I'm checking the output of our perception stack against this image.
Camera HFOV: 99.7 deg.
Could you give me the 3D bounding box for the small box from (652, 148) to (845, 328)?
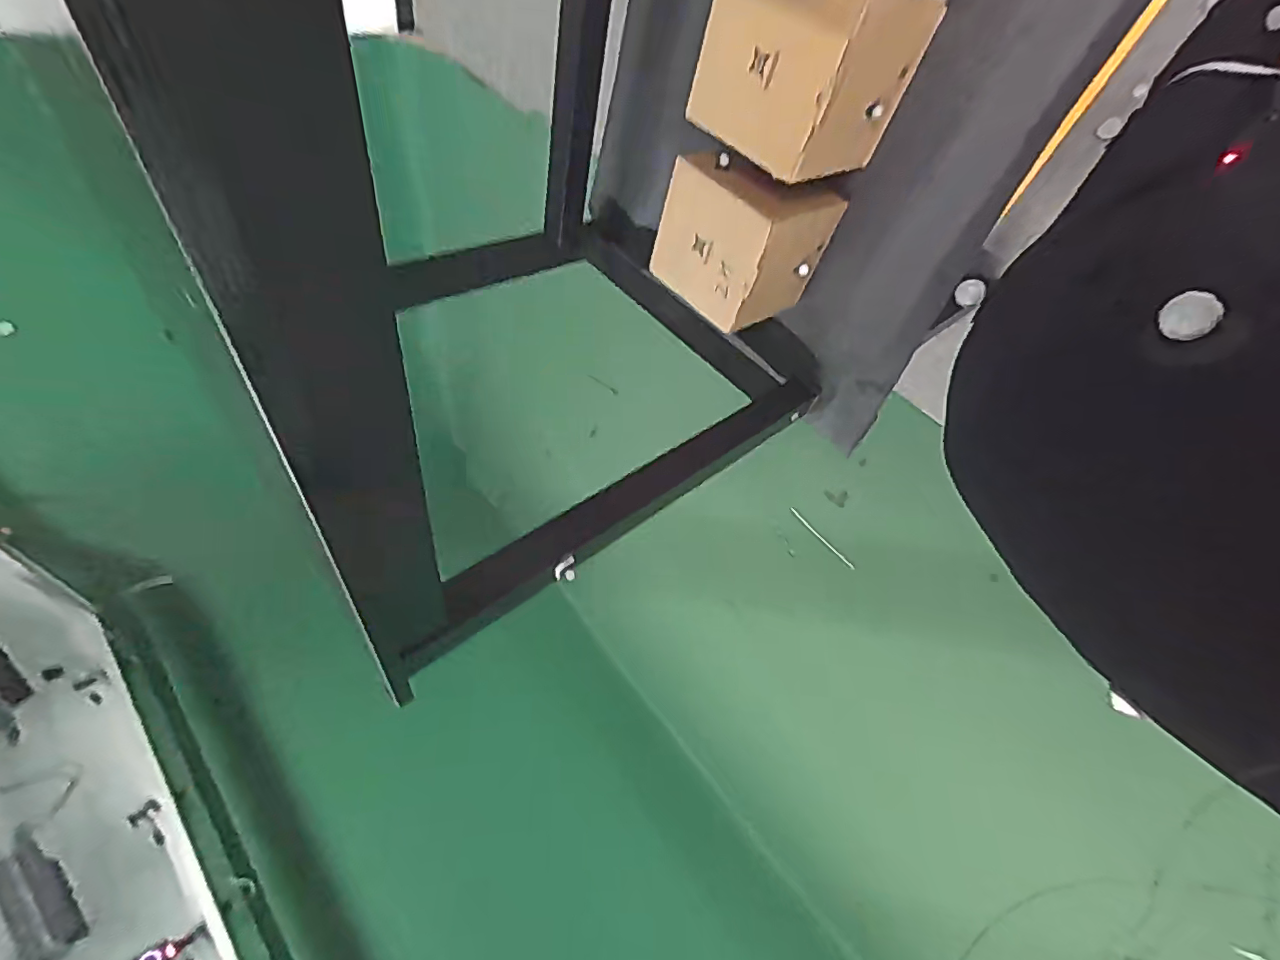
[{"bbox_3d":[0.150,-0.351,0.773,0.179,0.176,0.168,46,146,21],"label":"small box"}]
